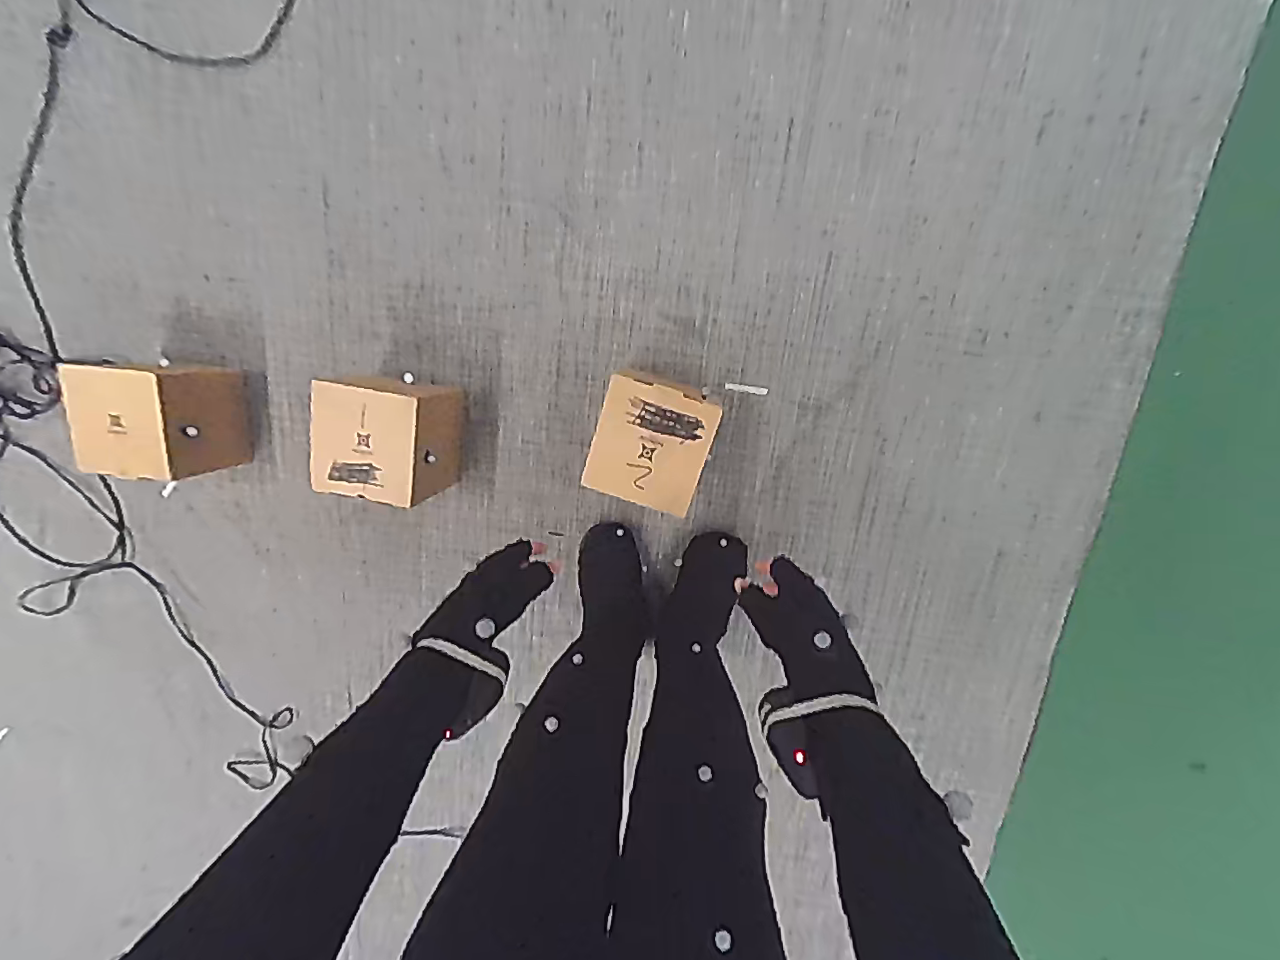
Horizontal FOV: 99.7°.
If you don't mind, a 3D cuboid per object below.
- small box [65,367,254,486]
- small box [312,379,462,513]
[{"bbox_3d":[-0.810,-0.100,0.931,0.168,0.176,0.179,5,105,5],"label":"small box"},{"bbox_3d":[-0.410,-0.064,0.897,0.168,0.176,0.179,10,104,4],"label":"small box"}]
